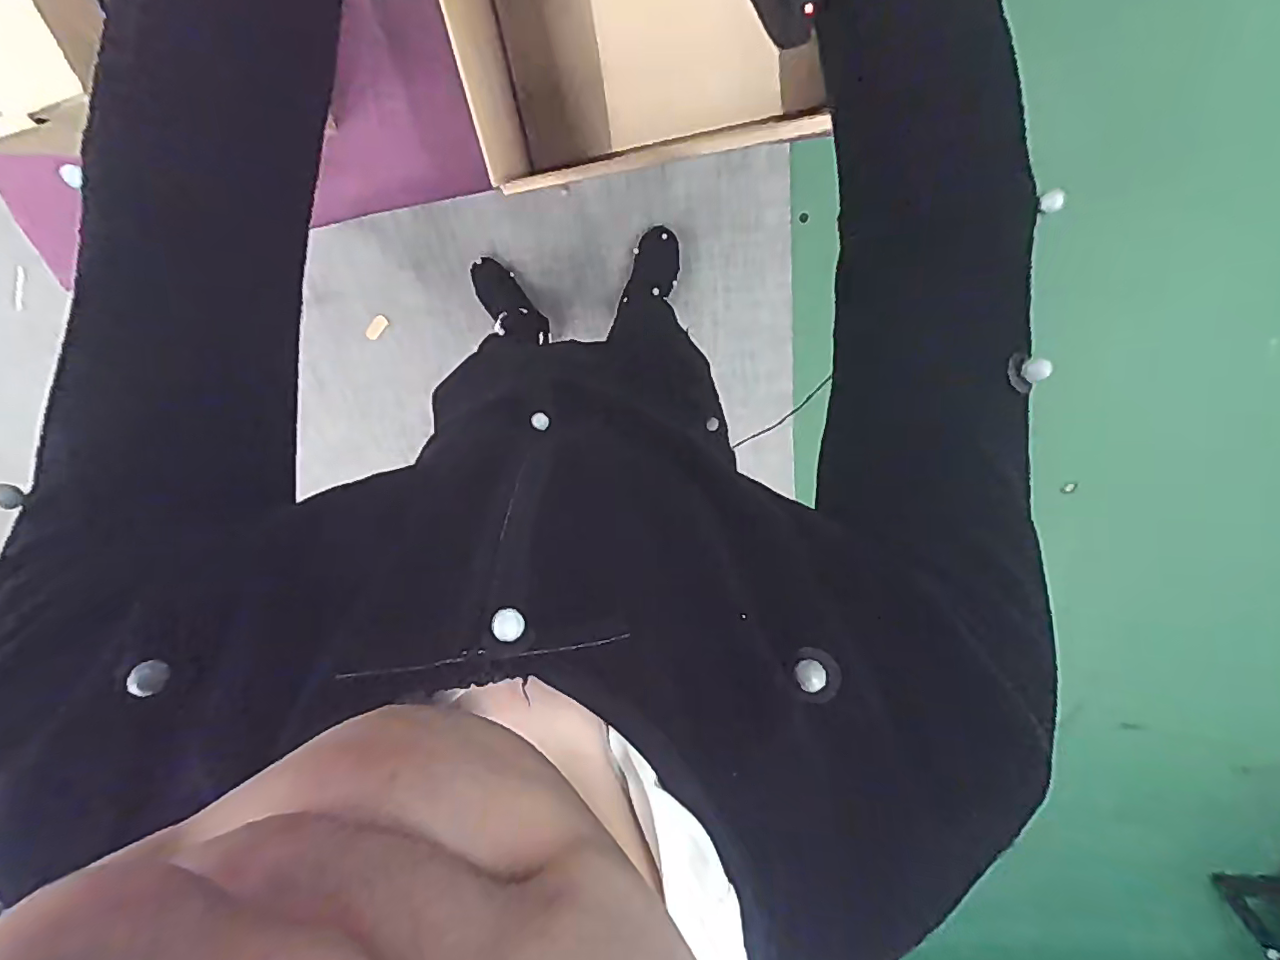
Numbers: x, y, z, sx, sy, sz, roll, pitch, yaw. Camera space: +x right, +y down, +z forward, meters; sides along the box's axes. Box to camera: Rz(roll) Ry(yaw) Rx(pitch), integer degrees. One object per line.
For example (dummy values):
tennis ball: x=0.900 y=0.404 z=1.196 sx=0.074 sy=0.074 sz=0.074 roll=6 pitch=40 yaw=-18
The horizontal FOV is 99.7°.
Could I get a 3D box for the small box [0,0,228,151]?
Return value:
small box: x=-0.511 y=-0.391 z=0.455 sx=0.168 sy=0.176 sz=0.179 roll=-9 pitch=118 yaw=8
